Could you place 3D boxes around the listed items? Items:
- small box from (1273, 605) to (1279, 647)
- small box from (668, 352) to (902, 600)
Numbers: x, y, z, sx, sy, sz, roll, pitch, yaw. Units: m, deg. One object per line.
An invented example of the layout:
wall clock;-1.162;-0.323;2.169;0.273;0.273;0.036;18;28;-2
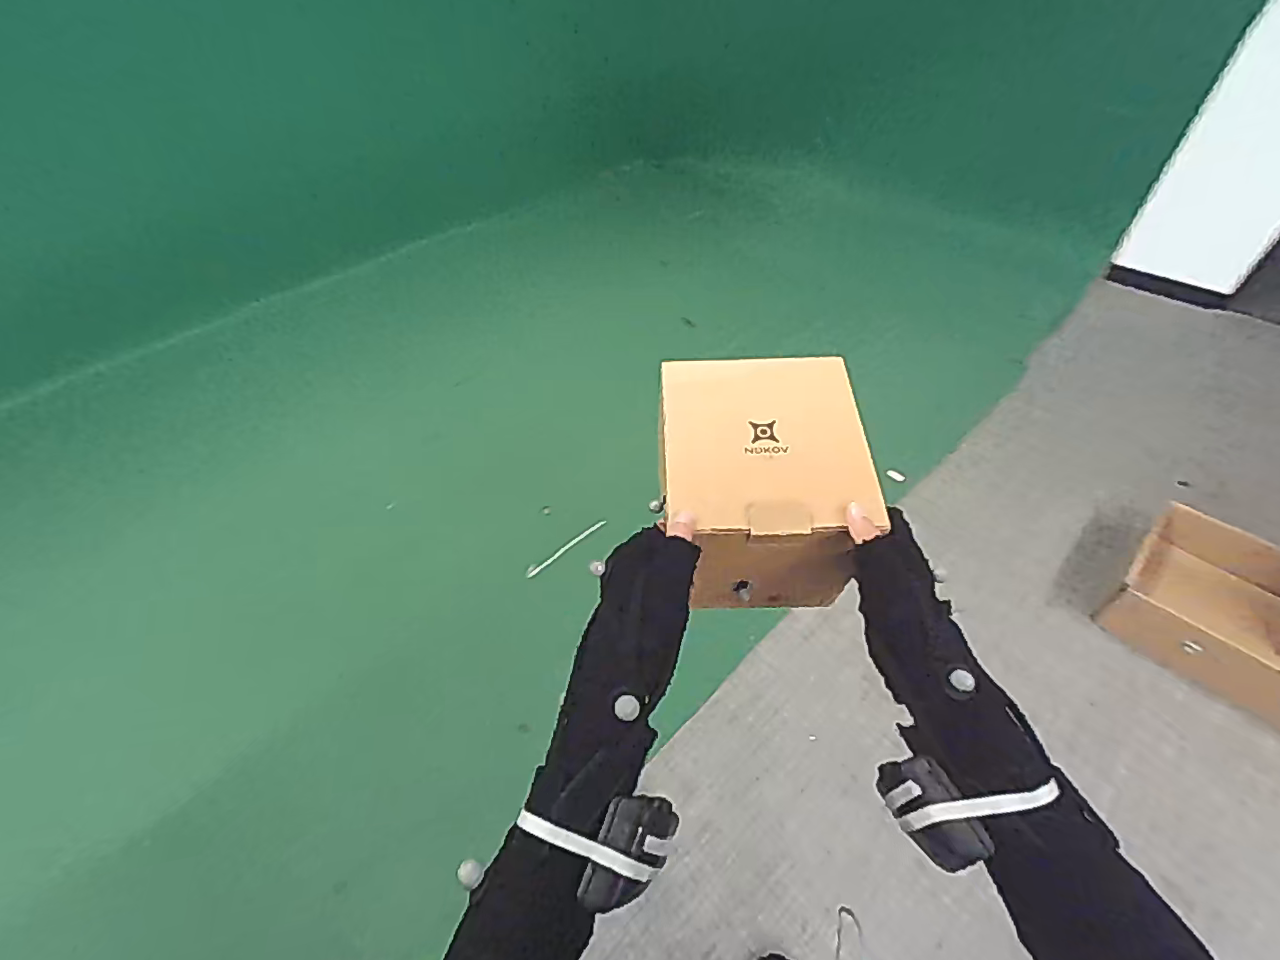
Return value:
small box;1.720;0.365;1.321;0.168;0.176;0.179;30;57;30
small box;0.113;0.001;0.511;0.168;0.176;0.179;0;59;0
